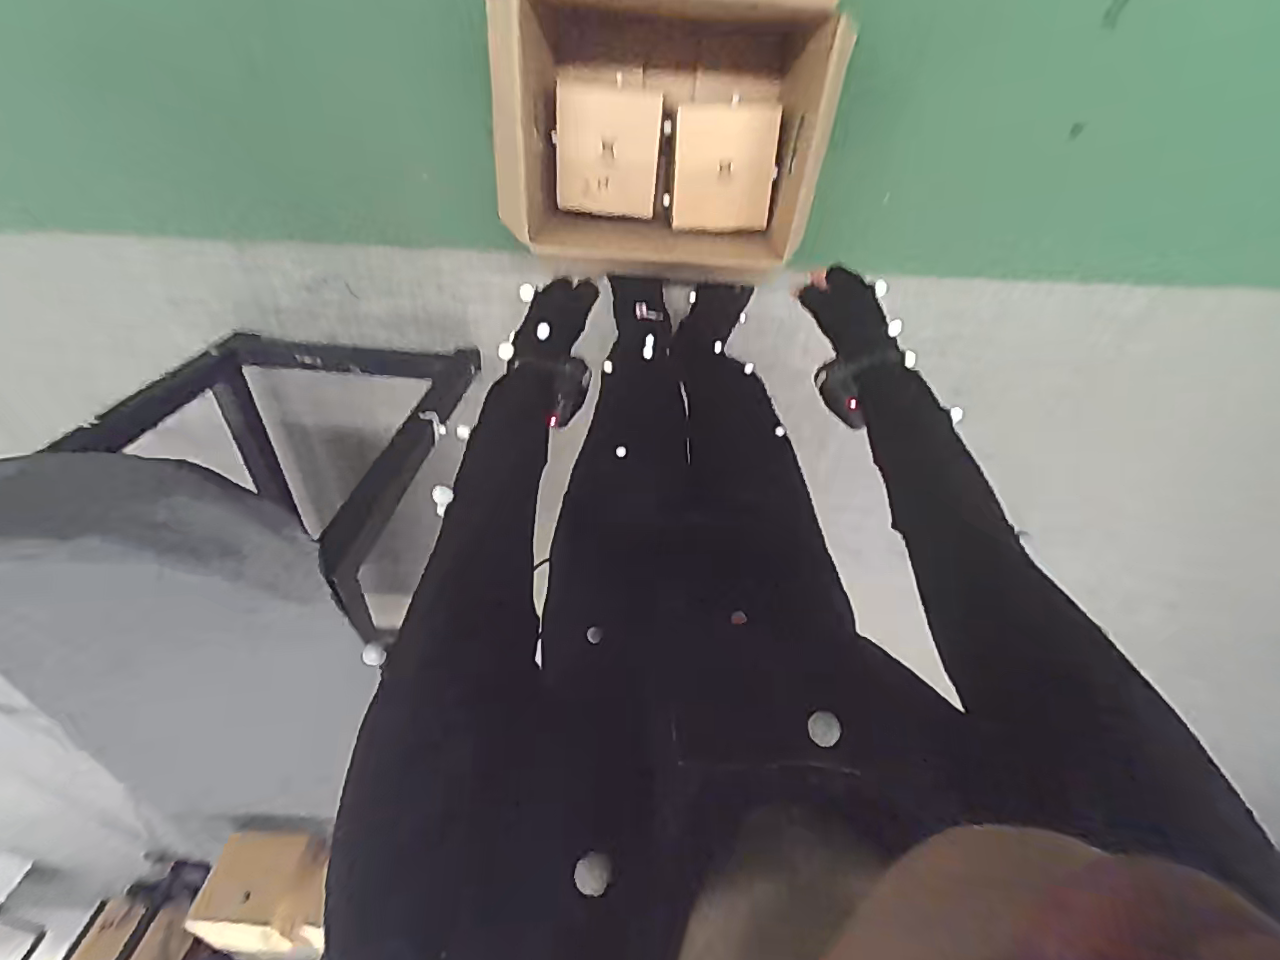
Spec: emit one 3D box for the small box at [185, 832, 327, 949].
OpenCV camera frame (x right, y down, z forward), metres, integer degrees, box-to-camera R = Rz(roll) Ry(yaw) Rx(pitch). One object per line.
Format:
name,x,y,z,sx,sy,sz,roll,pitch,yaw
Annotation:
small box,-0.821,0.896,1.185,0.179,0.176,0.168,3,126,1
